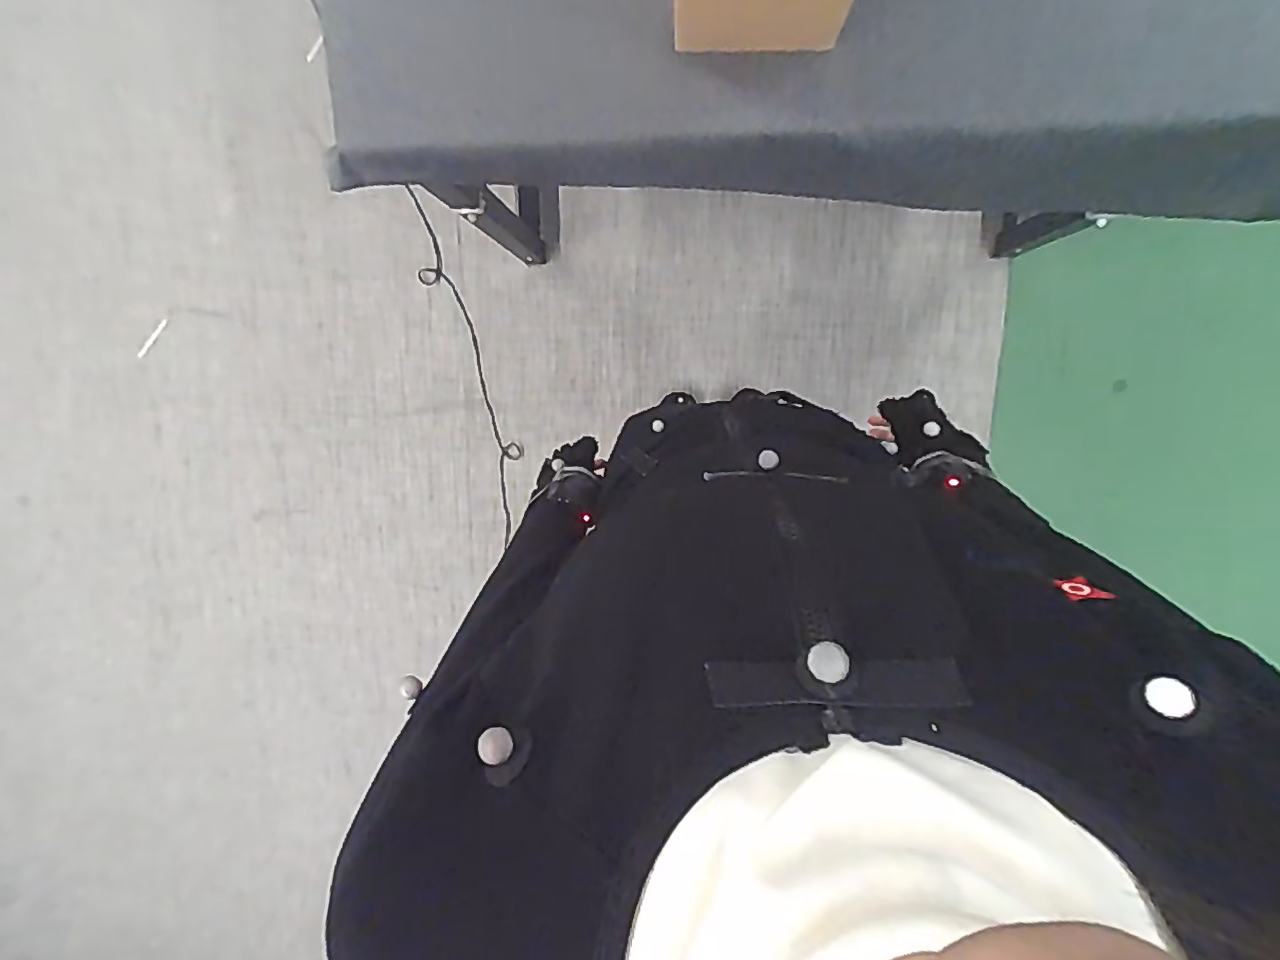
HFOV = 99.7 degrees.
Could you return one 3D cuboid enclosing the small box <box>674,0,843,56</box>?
[{"bbox_3d":[0.123,-0.555,0.532,0.179,0.176,0.168,3,100,4],"label":"small box"}]
